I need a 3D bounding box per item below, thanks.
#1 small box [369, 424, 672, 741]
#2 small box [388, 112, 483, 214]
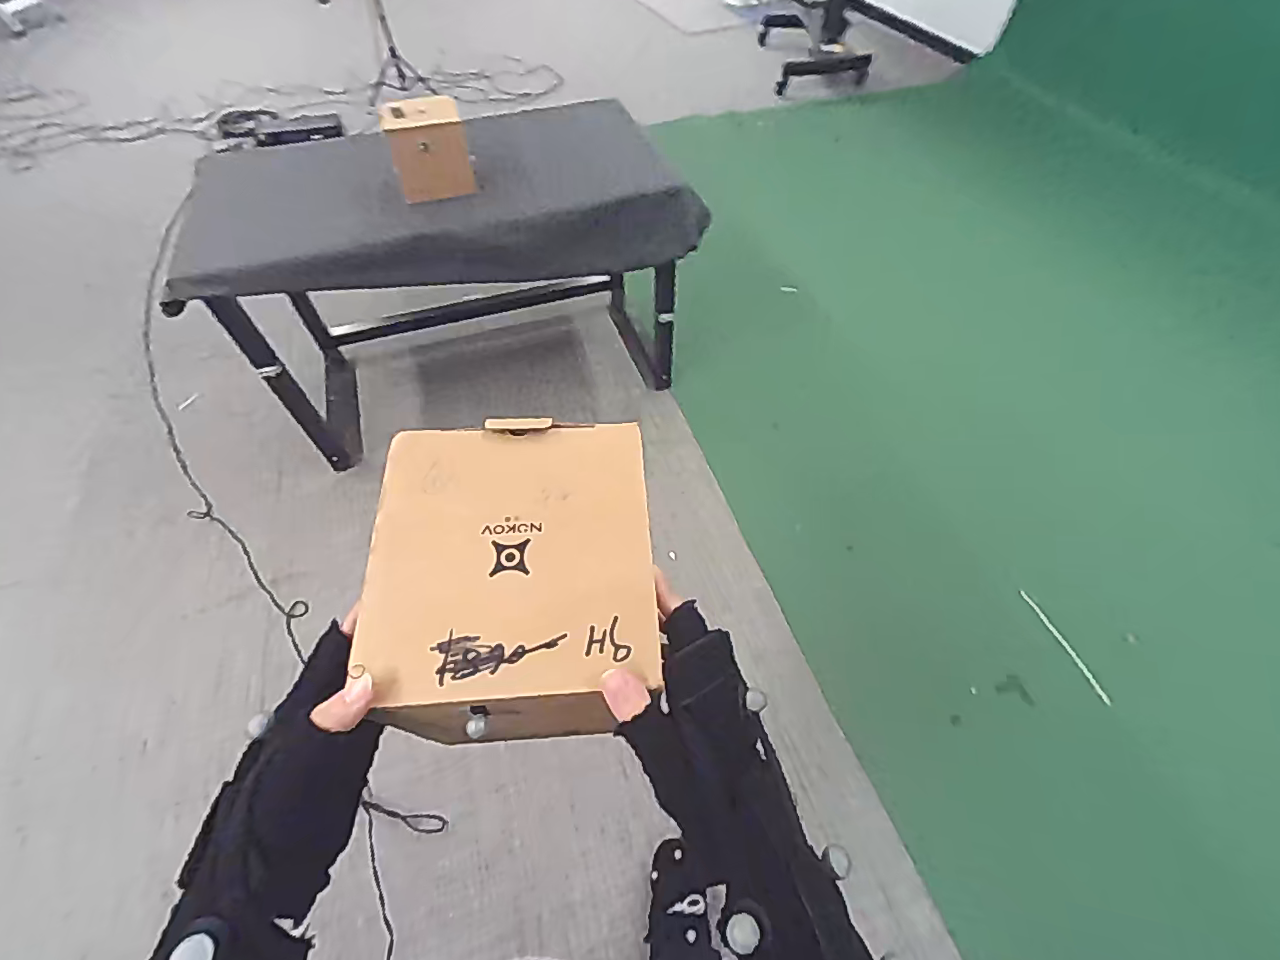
[{"bbox_3d":[-0.076,0.081,0.403,0.168,0.176,0.179,-5,59,-6],"label":"small box"},{"bbox_3d":[-0.511,-0.793,1.360,0.179,0.176,0.168,-15,54,-11],"label":"small box"}]
